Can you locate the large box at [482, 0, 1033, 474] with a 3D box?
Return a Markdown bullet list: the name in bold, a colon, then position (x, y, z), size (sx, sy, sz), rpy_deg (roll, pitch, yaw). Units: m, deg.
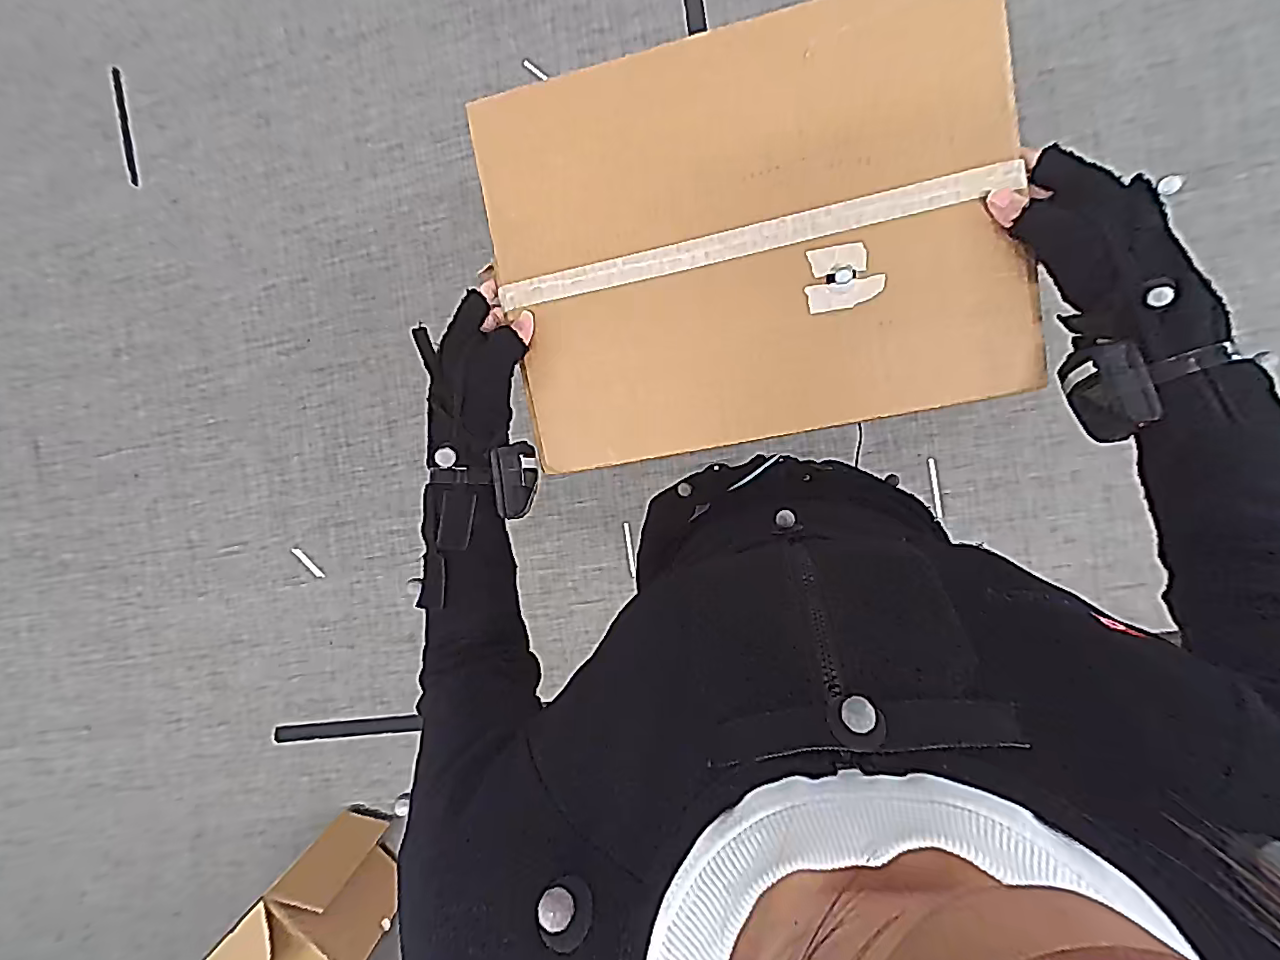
- **large box**: position (0.105, -0.208, 0.586), size (0.408, 0.320, 0.320), rpy_deg (-11, 96, 8)
